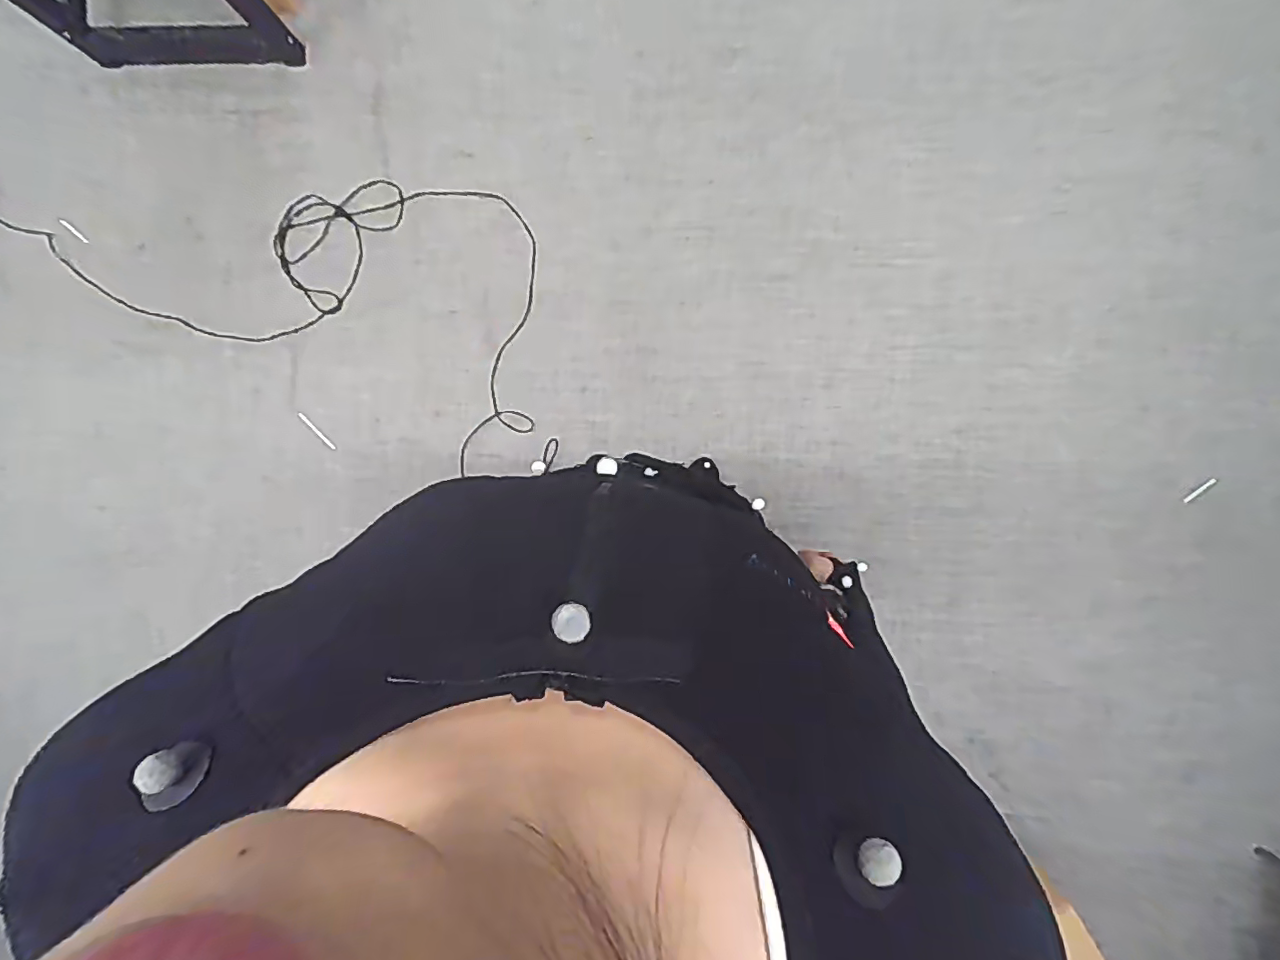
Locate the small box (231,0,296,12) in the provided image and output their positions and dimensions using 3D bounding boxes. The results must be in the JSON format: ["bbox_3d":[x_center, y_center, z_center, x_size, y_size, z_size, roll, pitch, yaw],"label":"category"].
[{"bbox_3d":[-1.012,-1.358,1.394,0.179,0.176,0.168,5,93,2],"label":"small box"}]
